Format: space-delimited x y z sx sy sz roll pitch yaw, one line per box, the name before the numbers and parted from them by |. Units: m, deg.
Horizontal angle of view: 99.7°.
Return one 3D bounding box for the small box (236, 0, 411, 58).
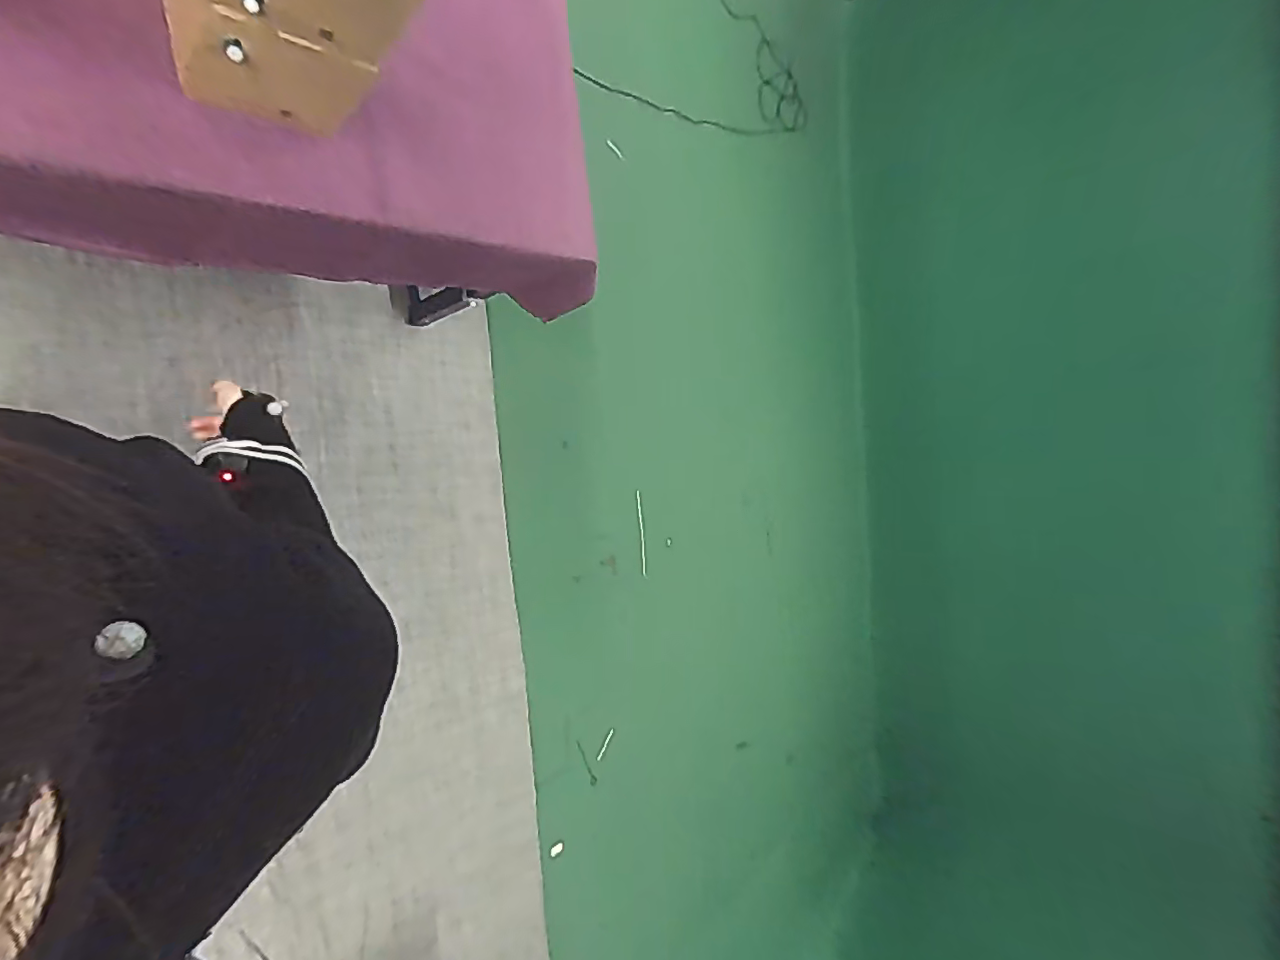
small box | -0.317 -0.563 0.517 0.168 0.176 0.179 -14 97 -46
